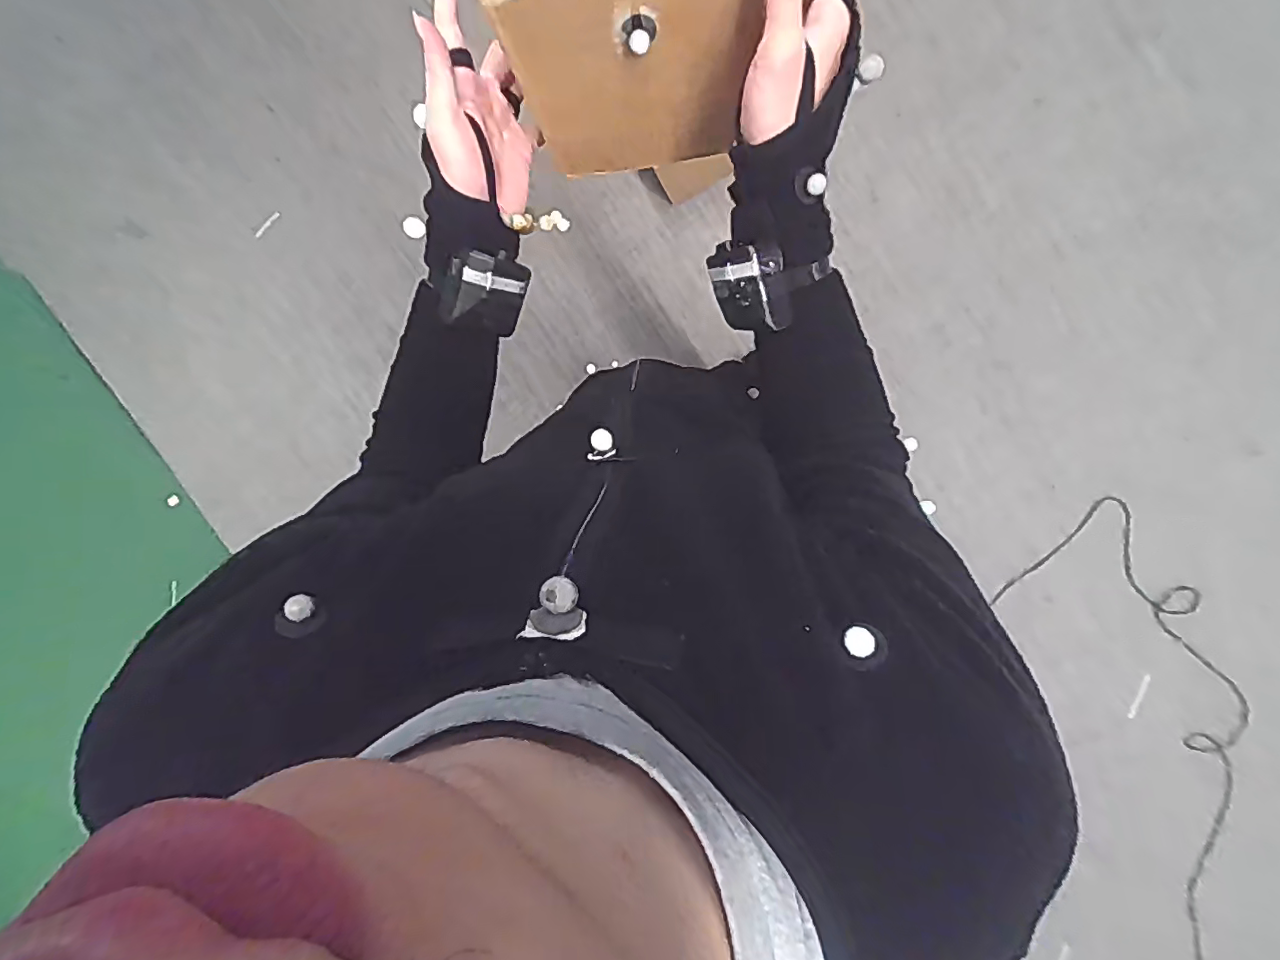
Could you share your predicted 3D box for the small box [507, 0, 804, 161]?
[{"bbox_3d":[0.008,-0.339,0.345,0.179,0.176,0.168,-7,85,6],"label":"small box"}]
